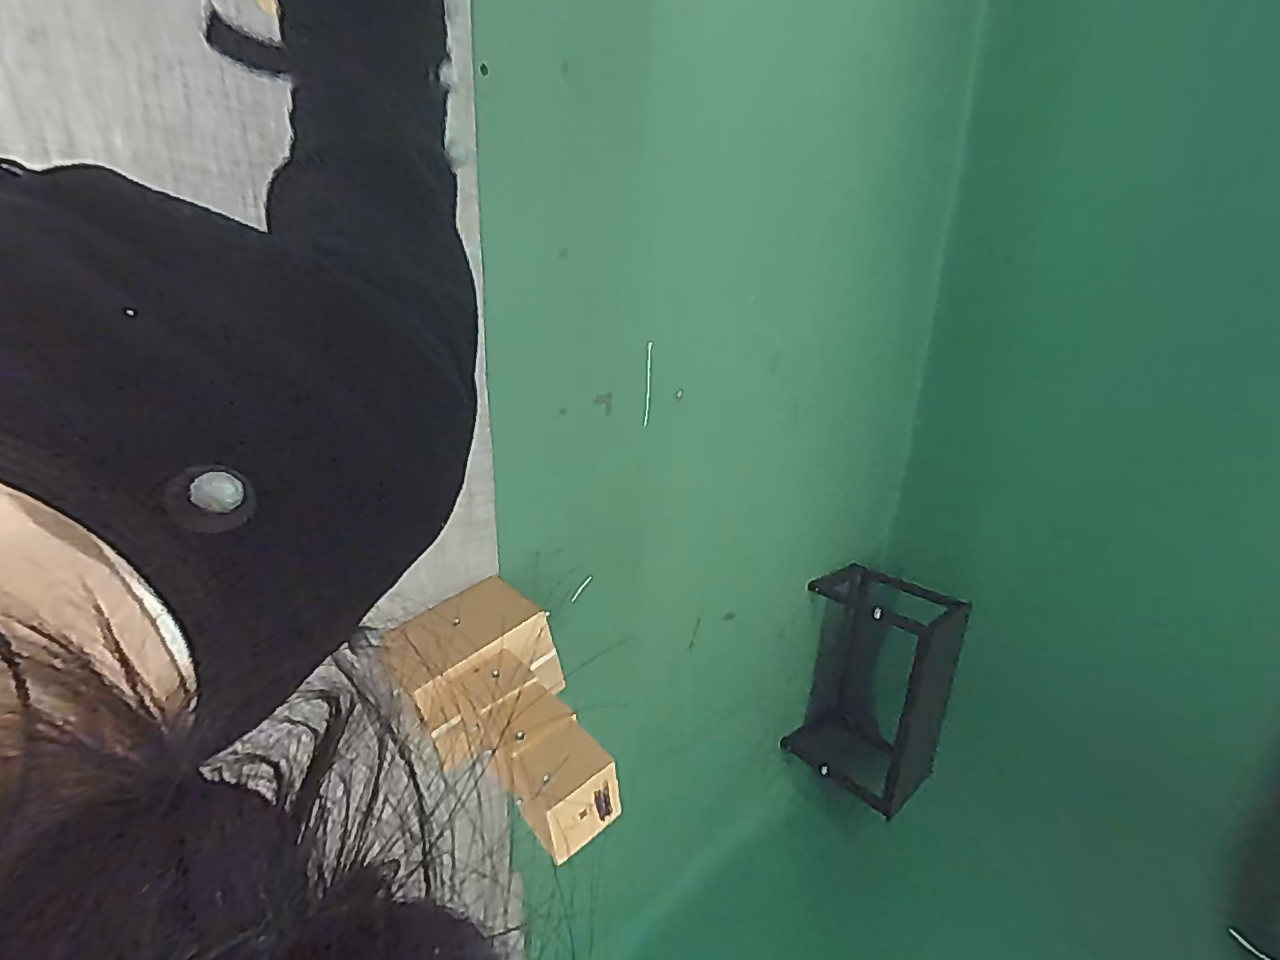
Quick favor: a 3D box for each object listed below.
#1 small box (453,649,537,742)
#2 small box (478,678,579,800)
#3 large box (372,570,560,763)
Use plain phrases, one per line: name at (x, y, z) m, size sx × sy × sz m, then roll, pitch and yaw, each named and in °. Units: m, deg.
small box at (-0.379, 0.580, 1.446) m, size 0.168 × 0.176 × 0.179 m, roll -22°, pitch 118°, yaw -36°
small box at (-0.273, 0.626, 1.332) m, size 0.179 × 0.176 × 0.168 m, roll -21°, pitch 117°, yaw -37°
large box at (-0.521, 0.540, 1.647) m, size 0.408 × 0.320 × 0.320 m, roll -29°, pitch 123°, yaw -35°
